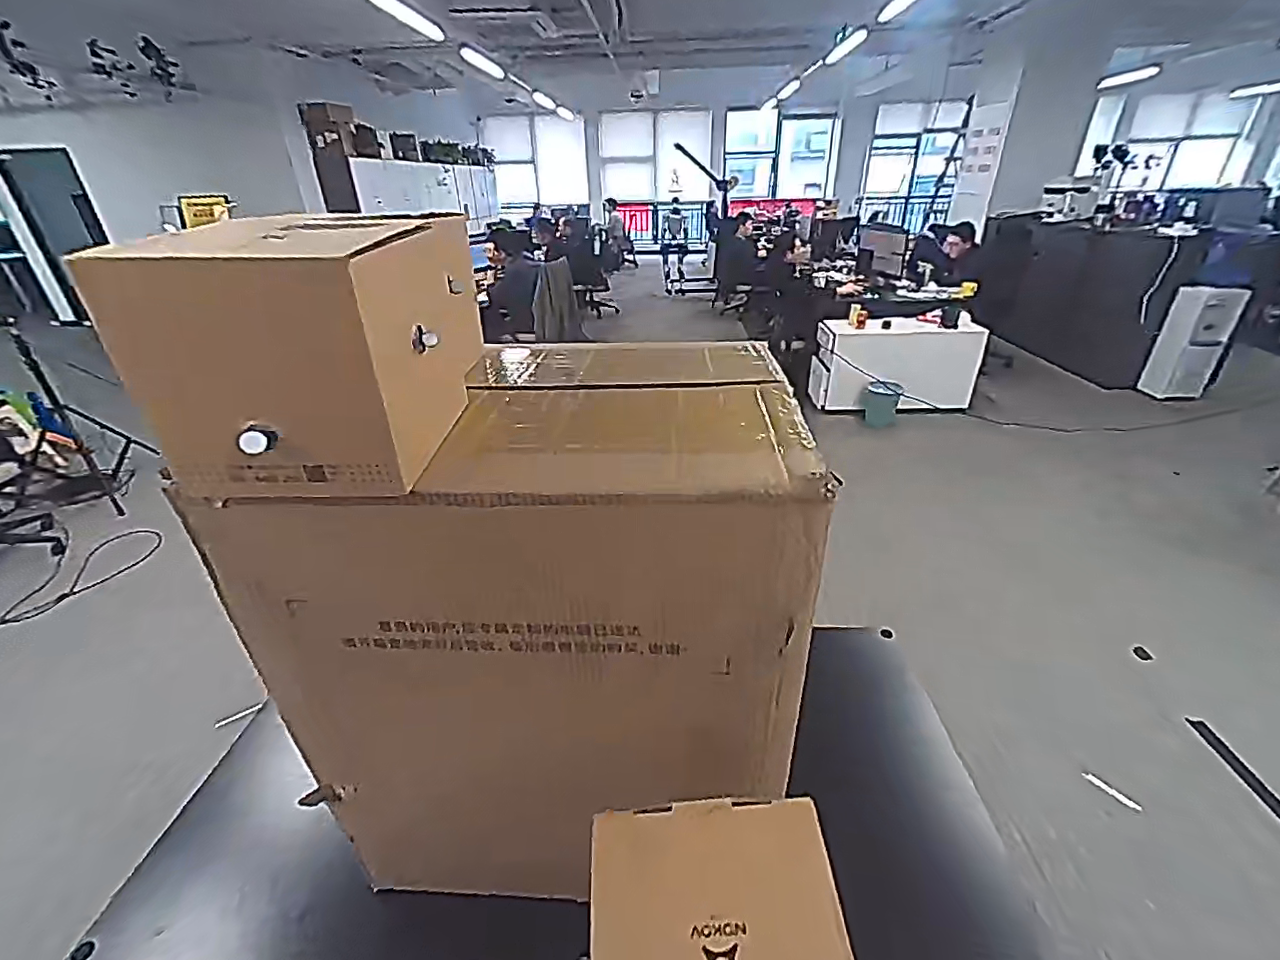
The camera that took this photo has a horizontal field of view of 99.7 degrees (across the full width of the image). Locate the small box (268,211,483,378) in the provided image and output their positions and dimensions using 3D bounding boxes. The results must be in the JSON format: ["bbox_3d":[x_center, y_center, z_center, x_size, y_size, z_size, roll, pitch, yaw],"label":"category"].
[{"bbox_3d":[-0.280,-0.195,0.593,0.168,0.176,0.179,-1,28,-1],"label":"small box"}]

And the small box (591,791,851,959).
[{"bbox_3d":[0.052,0.354,0.396,0.168,0.176,0.179,-4,44,0],"label":"small box"}]

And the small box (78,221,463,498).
[{"bbox_3d":[-0.250,-0.102,0.428,0.168,0.176,0.179,0,32,0],"label":"small box"}]
